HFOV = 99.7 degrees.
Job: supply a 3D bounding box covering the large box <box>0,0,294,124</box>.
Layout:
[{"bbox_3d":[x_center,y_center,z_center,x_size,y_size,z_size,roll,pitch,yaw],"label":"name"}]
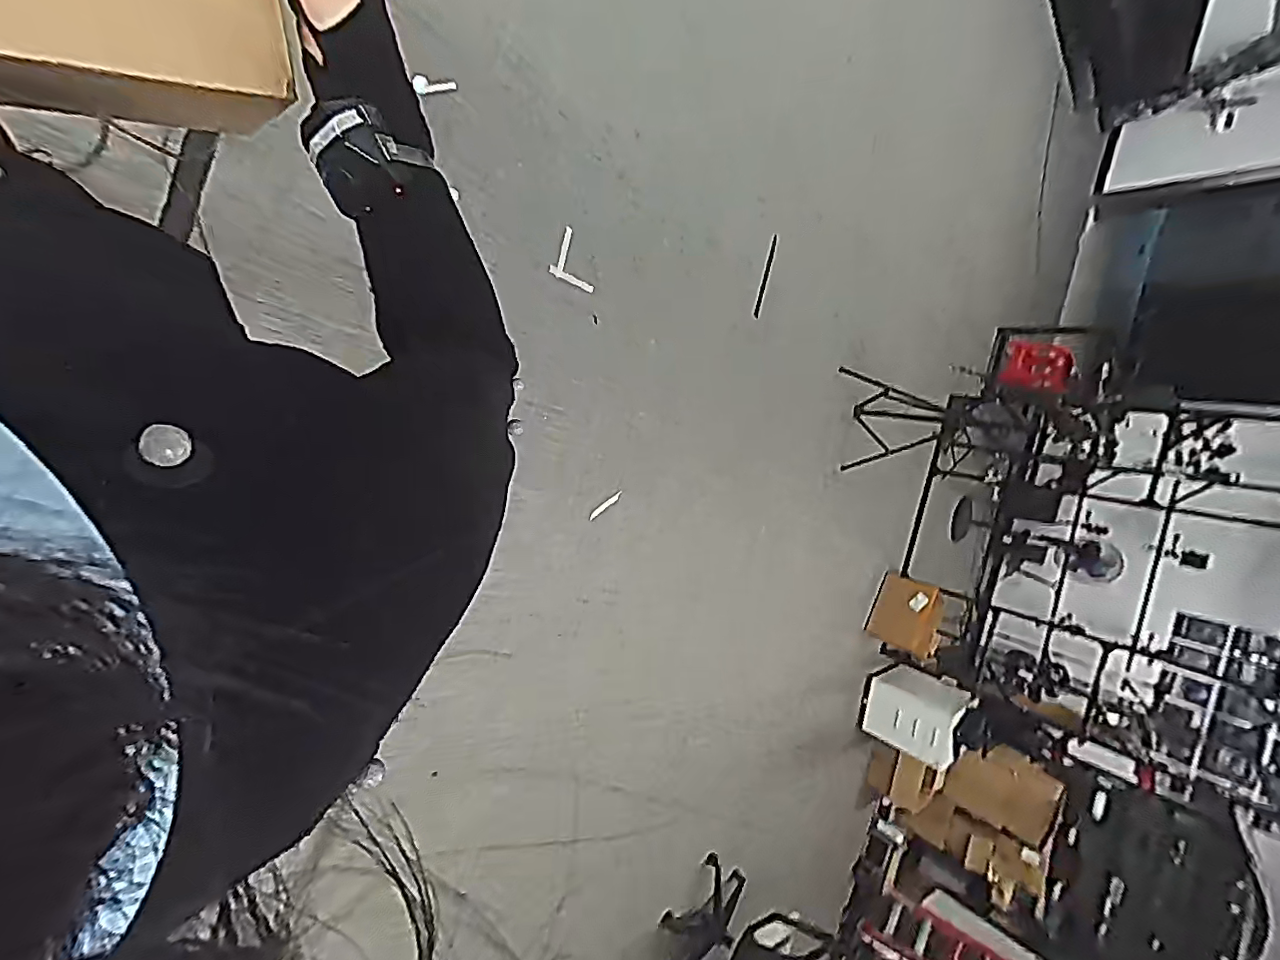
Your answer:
[{"bbox_3d":[-0.503,-0.441,0.342,0.408,0.320,0.320,-16,121,-35],"label":"large box"}]
